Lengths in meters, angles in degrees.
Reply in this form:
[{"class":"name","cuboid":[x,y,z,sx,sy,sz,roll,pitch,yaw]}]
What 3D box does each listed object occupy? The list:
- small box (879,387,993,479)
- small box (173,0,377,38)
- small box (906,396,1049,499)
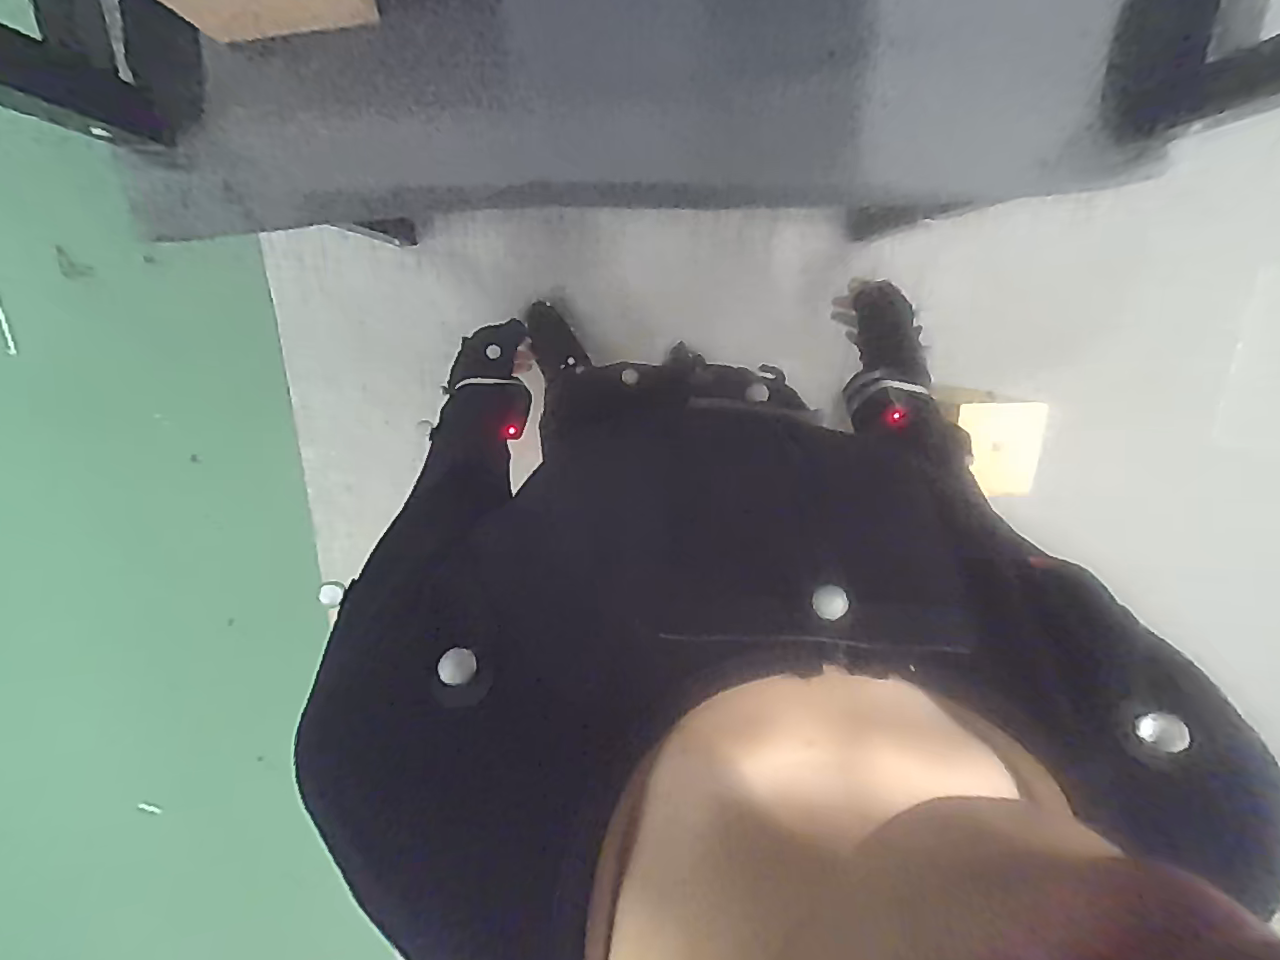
[{"class":"small box","cuboid":[0.659,-0.110,1.222,0.168,0.176,0.179,-3,105,0]},{"class":"small box","cuboid":[-0.370,-0.531,0.479,0.179,0.176,0.168,-7,107,0]},{"class":"small box","cuboid":[0.649,-0.071,1.063,0.168,0.176,0.179,-1,106,-1]}]
